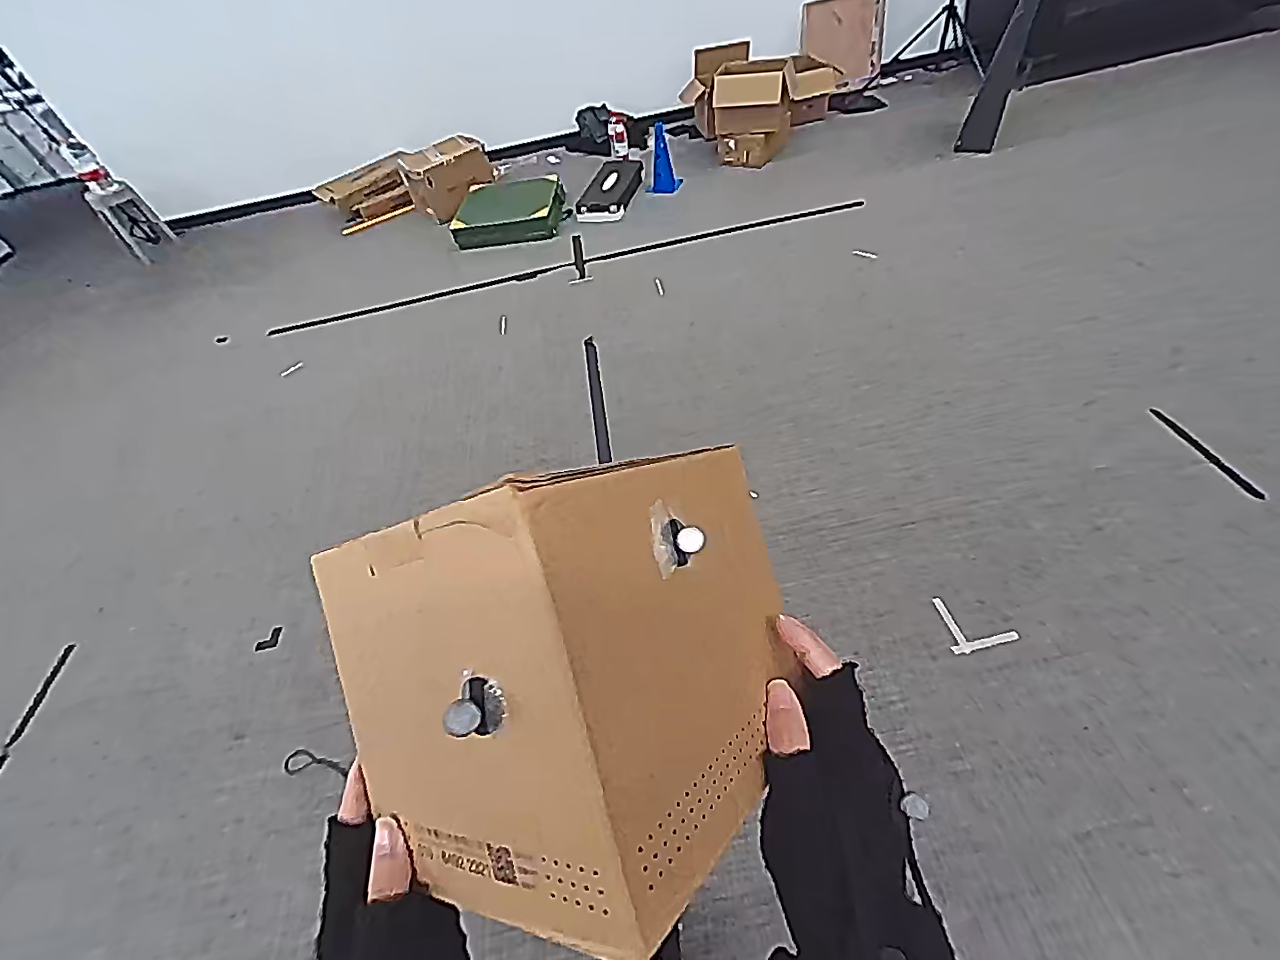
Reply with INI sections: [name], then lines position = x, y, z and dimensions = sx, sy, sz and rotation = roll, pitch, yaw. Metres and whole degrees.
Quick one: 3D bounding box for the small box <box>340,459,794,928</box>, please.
[small box]
position = -0.032, 0.098, 0.310
dimensions = 0.168, 0.176, 0.179
rotation = -18, -4, 37
